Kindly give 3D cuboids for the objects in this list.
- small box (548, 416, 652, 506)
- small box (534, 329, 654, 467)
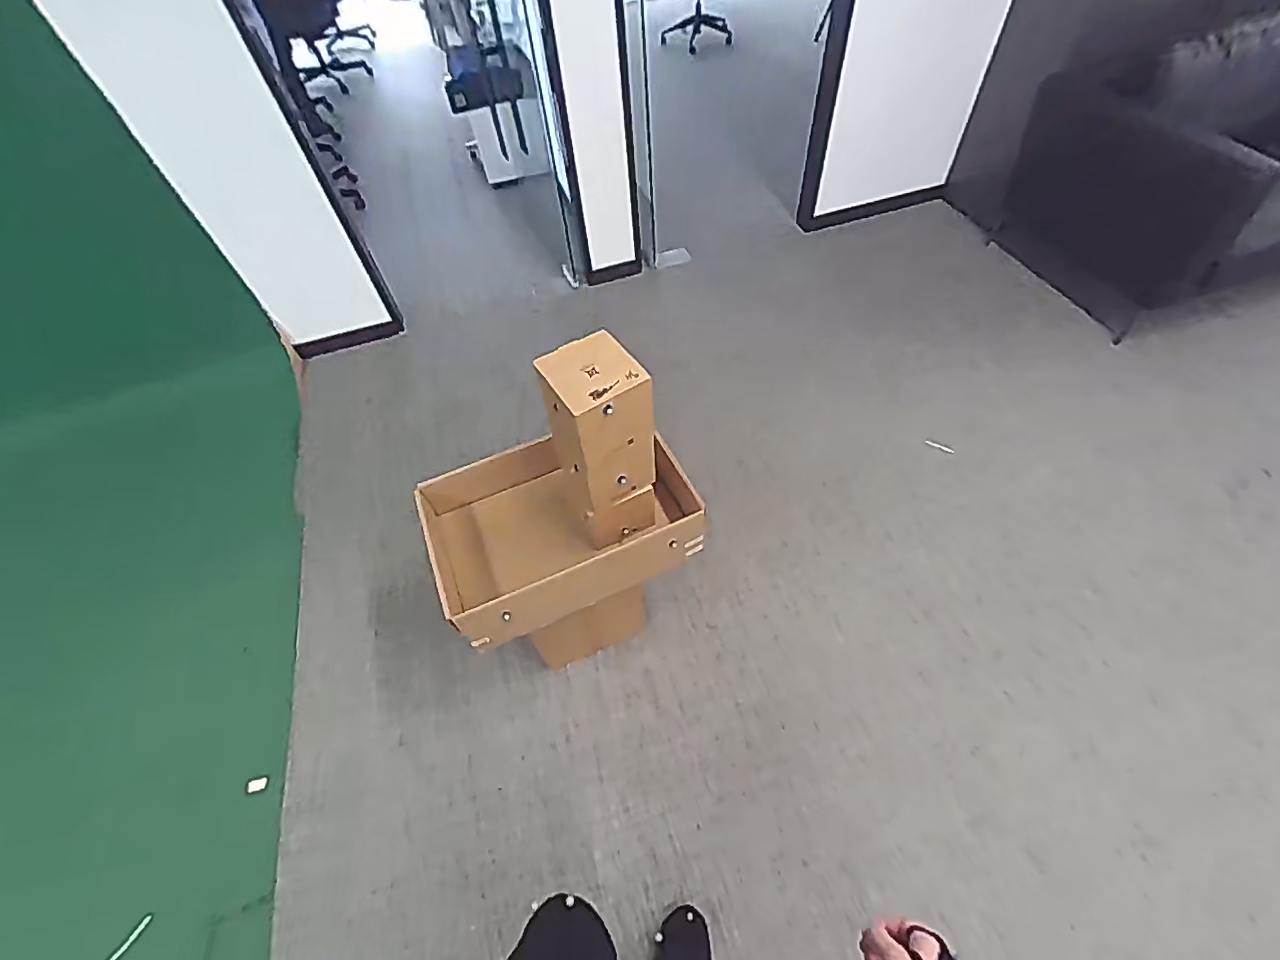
[{"bbox_3d":[-0.081,-0.064,1.202,0.168,0.176,0.179,-27,57,-16],"label":"small box"},{"bbox_3d":[-0.086,-0.159,1.068,0.168,0.176,0.179,-30,57,-16],"label":"small box"}]
